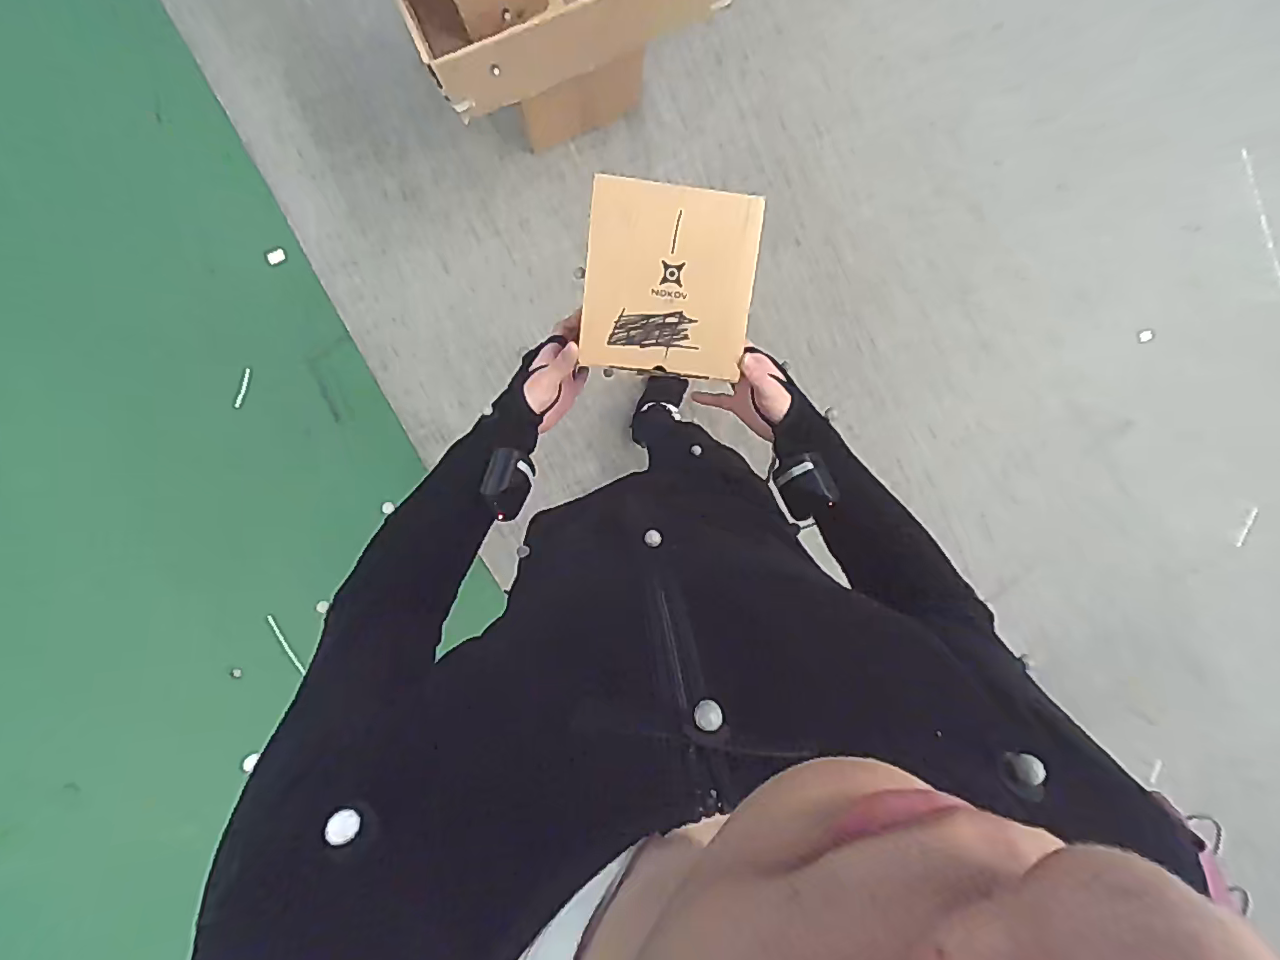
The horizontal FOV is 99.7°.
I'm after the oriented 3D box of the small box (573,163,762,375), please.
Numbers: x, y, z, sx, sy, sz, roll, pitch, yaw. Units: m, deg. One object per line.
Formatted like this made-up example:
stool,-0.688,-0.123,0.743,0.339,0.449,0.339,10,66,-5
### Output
small box,0.021,-0.217,0.599,0.168,0.176,0.179,6,103,-5
